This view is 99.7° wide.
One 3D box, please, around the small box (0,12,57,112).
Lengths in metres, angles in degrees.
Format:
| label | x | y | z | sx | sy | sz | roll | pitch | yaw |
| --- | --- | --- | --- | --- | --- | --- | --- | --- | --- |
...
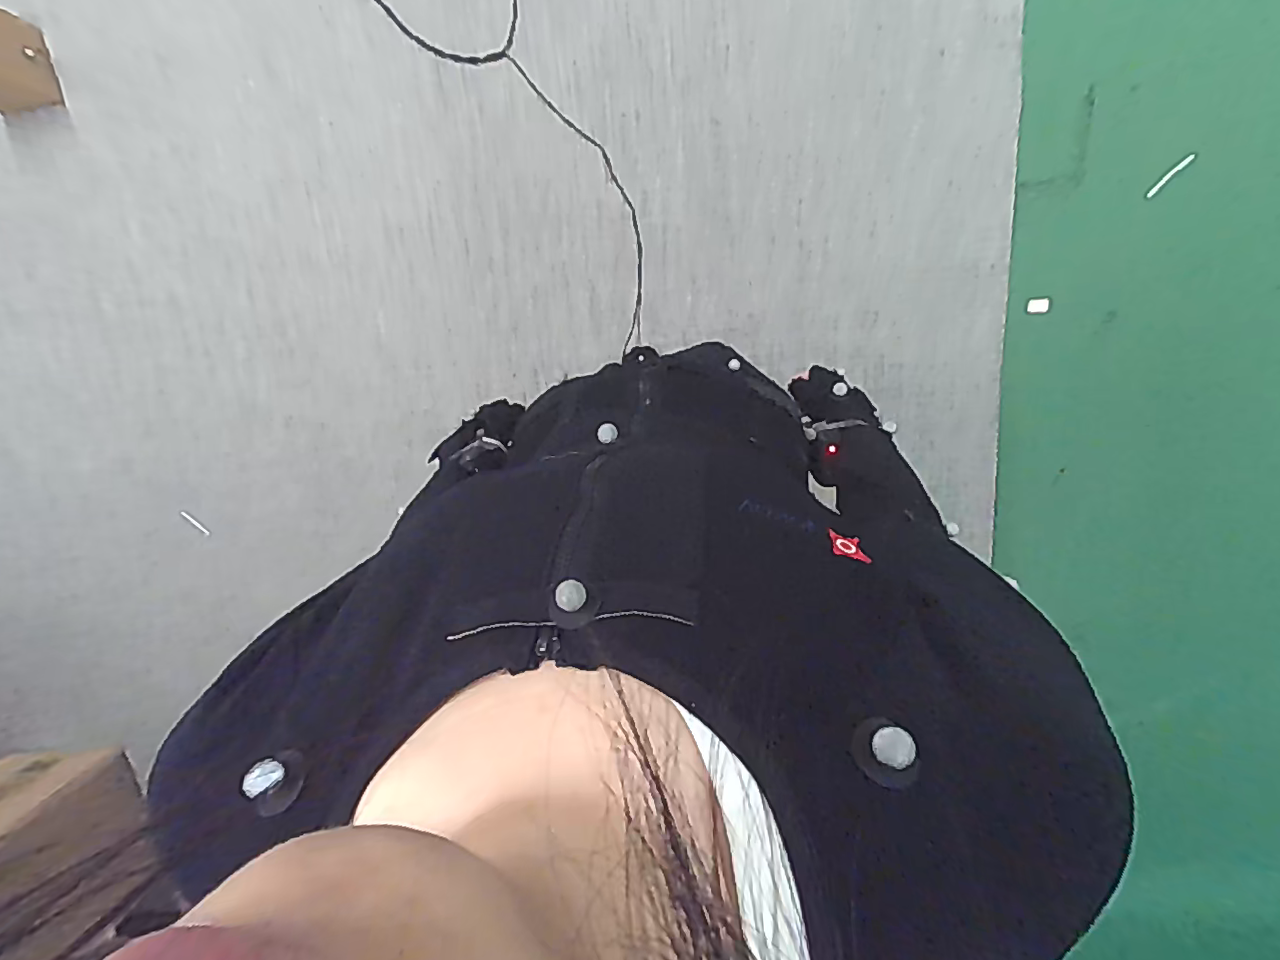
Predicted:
| label | x | y | z | sx | sy | sz | roll | pitch | yaw |
| --- | --- | --- | --- | --- | --- | --- | --- | --- | --- |
| small box | -1.540 | -0.984 | 1.252 | 0.179 | 0.176 | 0.168 | -7 | 105 | 5 |
